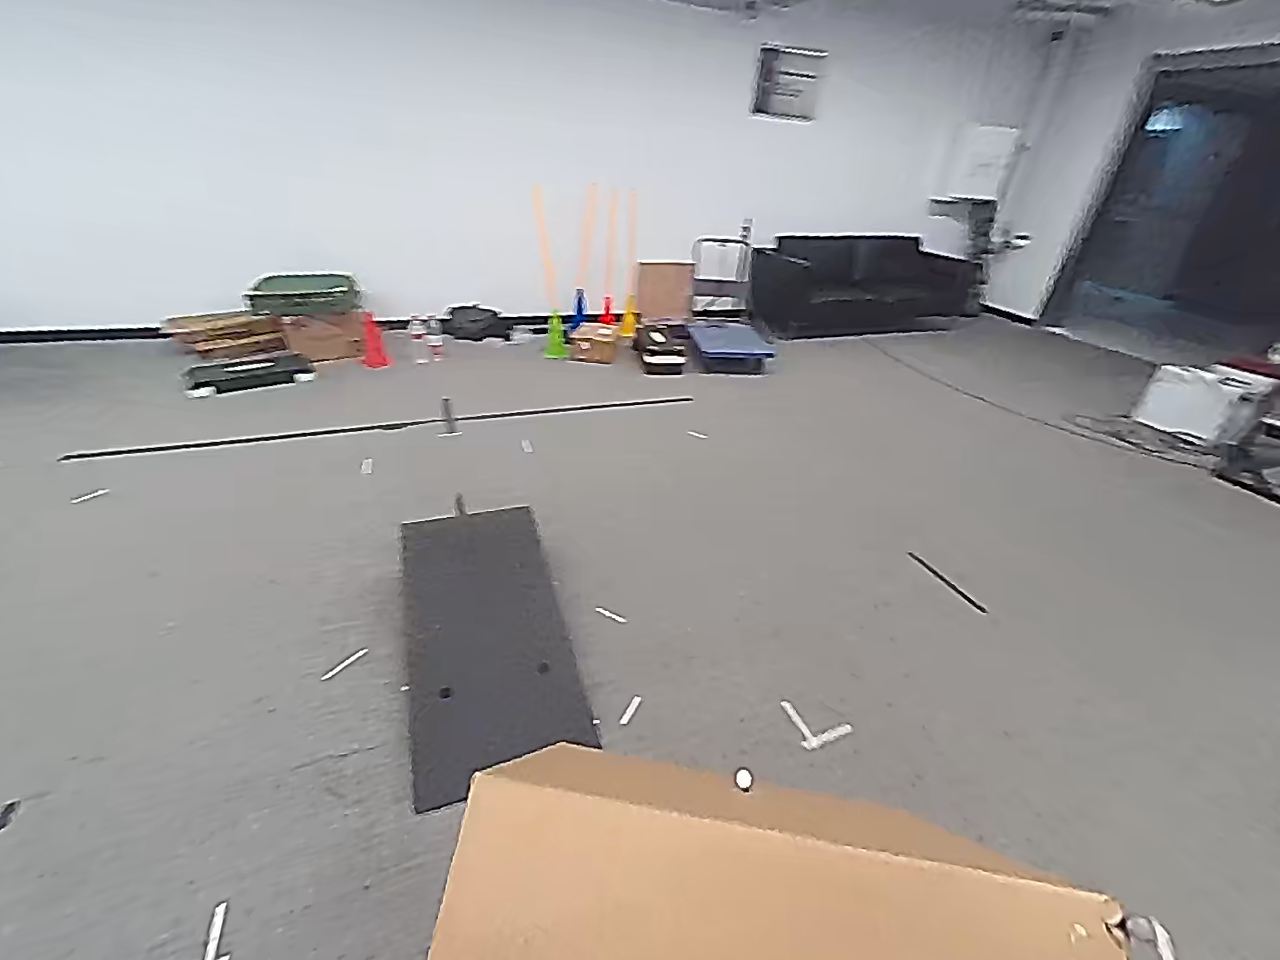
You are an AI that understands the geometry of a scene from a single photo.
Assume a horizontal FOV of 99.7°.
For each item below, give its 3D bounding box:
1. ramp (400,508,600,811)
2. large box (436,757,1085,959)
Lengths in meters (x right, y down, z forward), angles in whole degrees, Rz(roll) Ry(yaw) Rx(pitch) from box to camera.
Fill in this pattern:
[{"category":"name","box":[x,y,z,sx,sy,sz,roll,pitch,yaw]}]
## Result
[{"category":"ramp","box":[-0.497,0.474,1.762,0.509,0.206,0.991,-8,34,-22]},{"category":"large box","box":[0.063,0.429,0.440,0.408,0.320,0.320,7,69,4]}]
